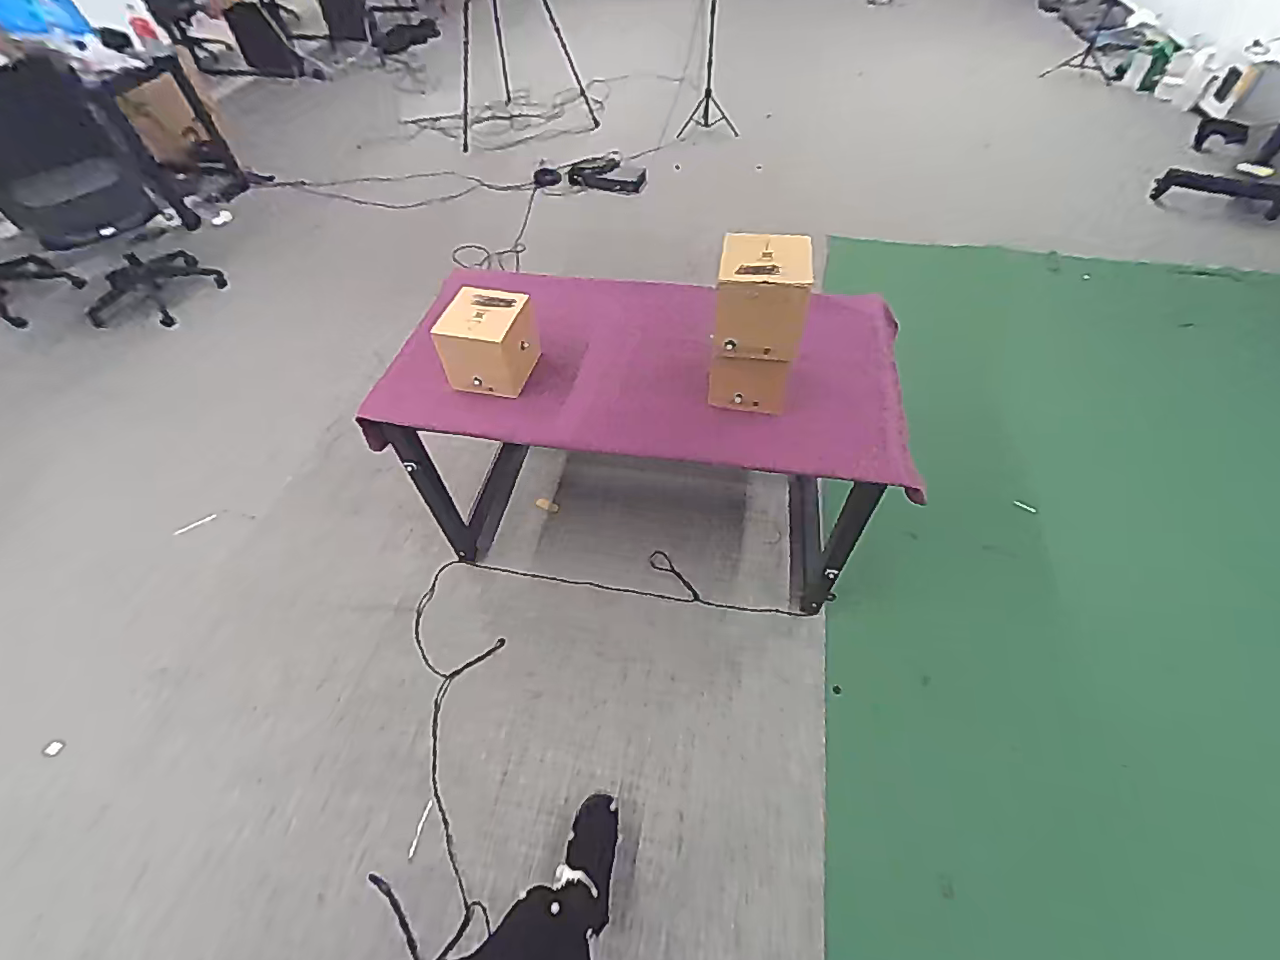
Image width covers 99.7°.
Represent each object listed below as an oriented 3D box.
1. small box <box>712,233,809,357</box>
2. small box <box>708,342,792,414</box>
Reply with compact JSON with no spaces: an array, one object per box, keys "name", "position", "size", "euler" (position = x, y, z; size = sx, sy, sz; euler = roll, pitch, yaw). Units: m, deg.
[{"name":"small box","position":[0.232,-0.359,1.055],"size":[0.168,0.176,0.179],"euler":[6,51,9]},{"name":"small box","position":[0.244,-0.273,1.195],"size":[0.168,0.176,0.179],"euler":[8,53,10]}]
